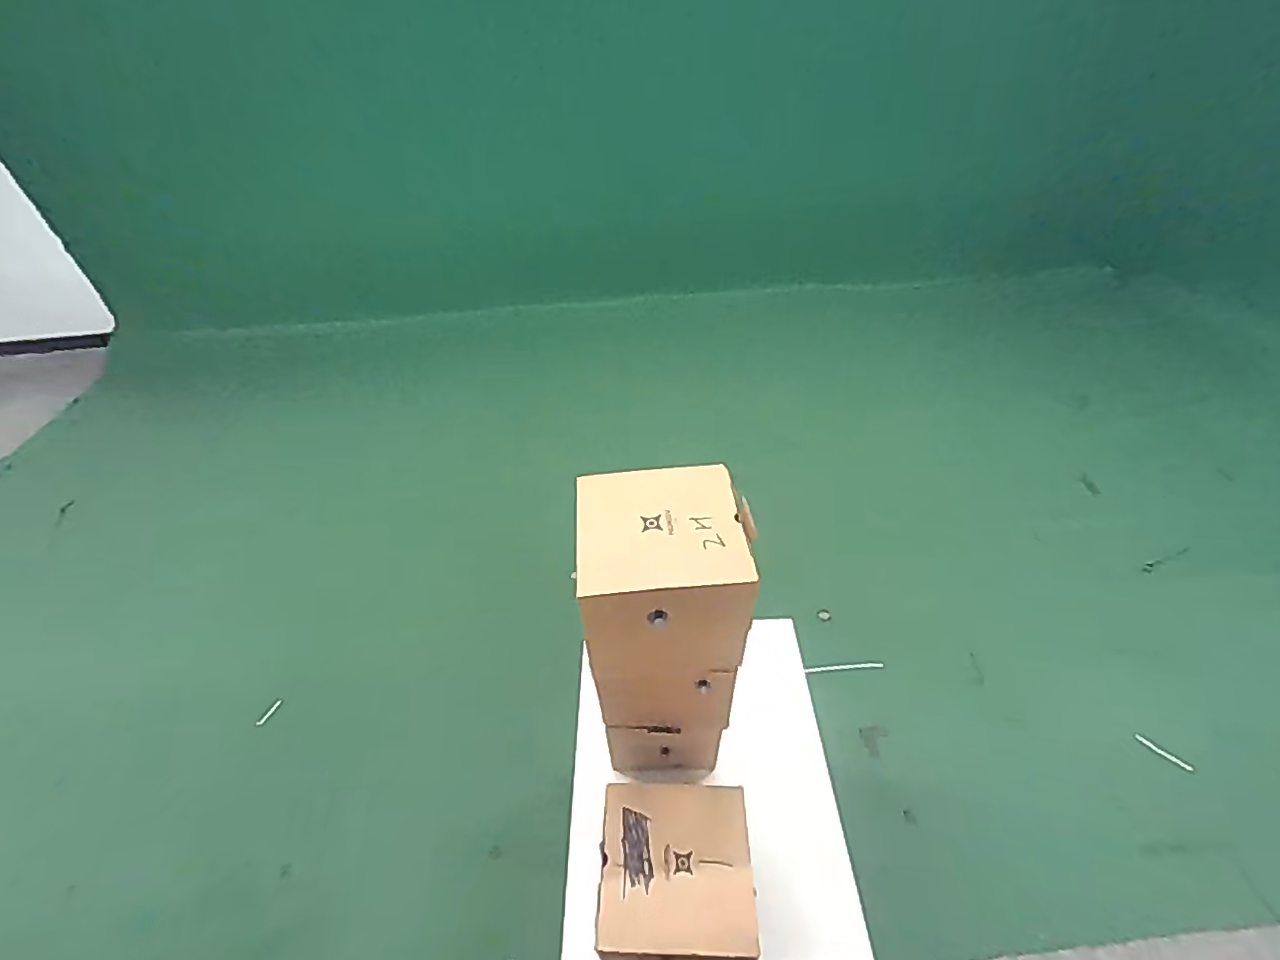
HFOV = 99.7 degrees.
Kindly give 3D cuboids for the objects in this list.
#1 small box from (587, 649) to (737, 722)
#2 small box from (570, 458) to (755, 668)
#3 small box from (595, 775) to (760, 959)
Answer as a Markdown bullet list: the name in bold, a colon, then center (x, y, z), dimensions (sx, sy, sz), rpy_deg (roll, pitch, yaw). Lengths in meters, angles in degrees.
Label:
- **small box**: center (0.032, 0.210, 0.728), dimensions (0.179, 0.176, 0.168), rpy_deg (1, 44, 3)
- **small box**: center (0.020, 0.096, 0.609), dimensions (0.179, 0.176, 0.168), rpy_deg (-4, 45, -2)
- **small box**: center (0.045, 0.487, 0.671), dimensions (0.179, 0.176, 0.168), rpy_deg (1, 43, 3)
